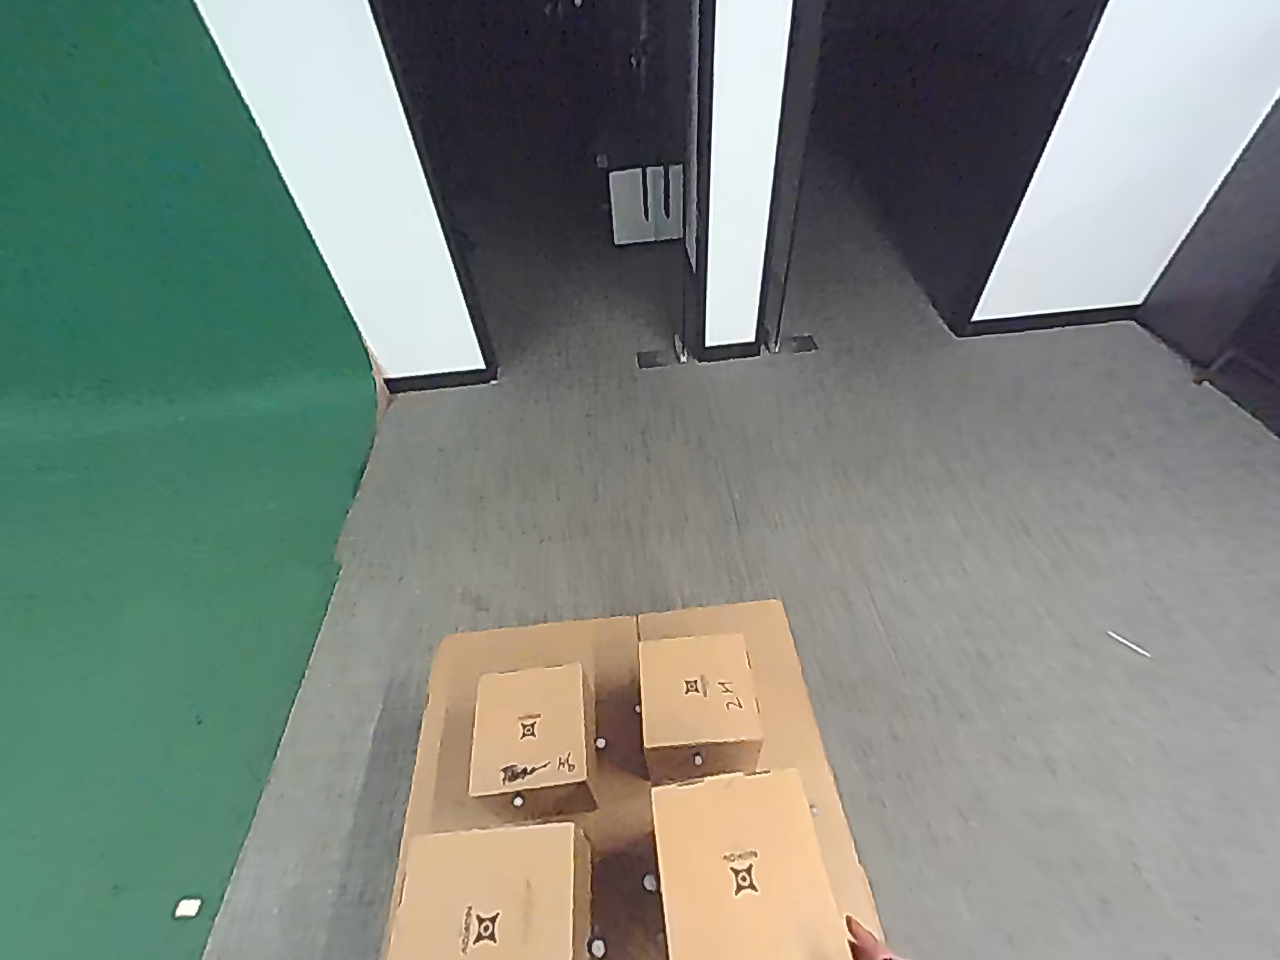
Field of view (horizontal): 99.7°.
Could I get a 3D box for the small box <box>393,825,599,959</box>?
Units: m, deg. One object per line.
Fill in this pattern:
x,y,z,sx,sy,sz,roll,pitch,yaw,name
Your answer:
-0.141,0.483,0.575,0.179,0.176,0.168,-5,48,0,small box

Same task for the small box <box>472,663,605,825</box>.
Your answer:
-0.151,0.418,0.857,0.168,0.176,0.179,-9,46,0,small box

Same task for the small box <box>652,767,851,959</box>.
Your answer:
0.109,0.439,0.589,0.168,0.176,0.179,-8,47,0,small box
